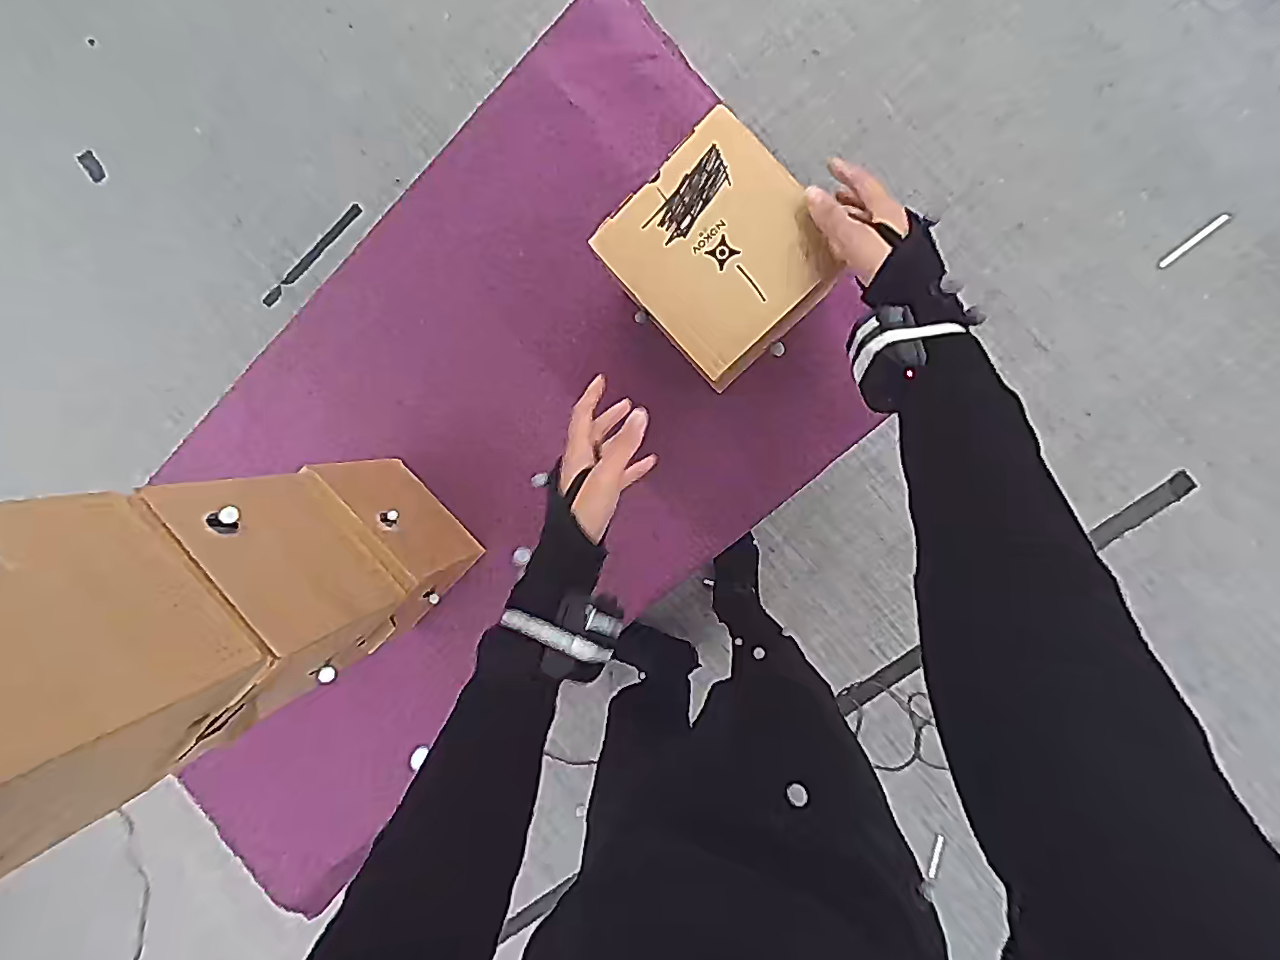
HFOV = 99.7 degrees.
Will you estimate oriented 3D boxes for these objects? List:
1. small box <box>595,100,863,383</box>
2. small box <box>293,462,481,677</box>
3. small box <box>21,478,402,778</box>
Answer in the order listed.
[{"bbox_3d":[0.086,-0.215,0.546,0.168,0.176,0.179,-42,88,12],"label":"small box"},{"bbox_3d":[-0.328,0.091,0.650,0.168,0.176,0.179,-44,87,10],"label":"small box"},{"bbox_3d":[-0.365,0.112,0.491,0.168,0.176,0.179,-42,87,11],"label":"small box"}]
